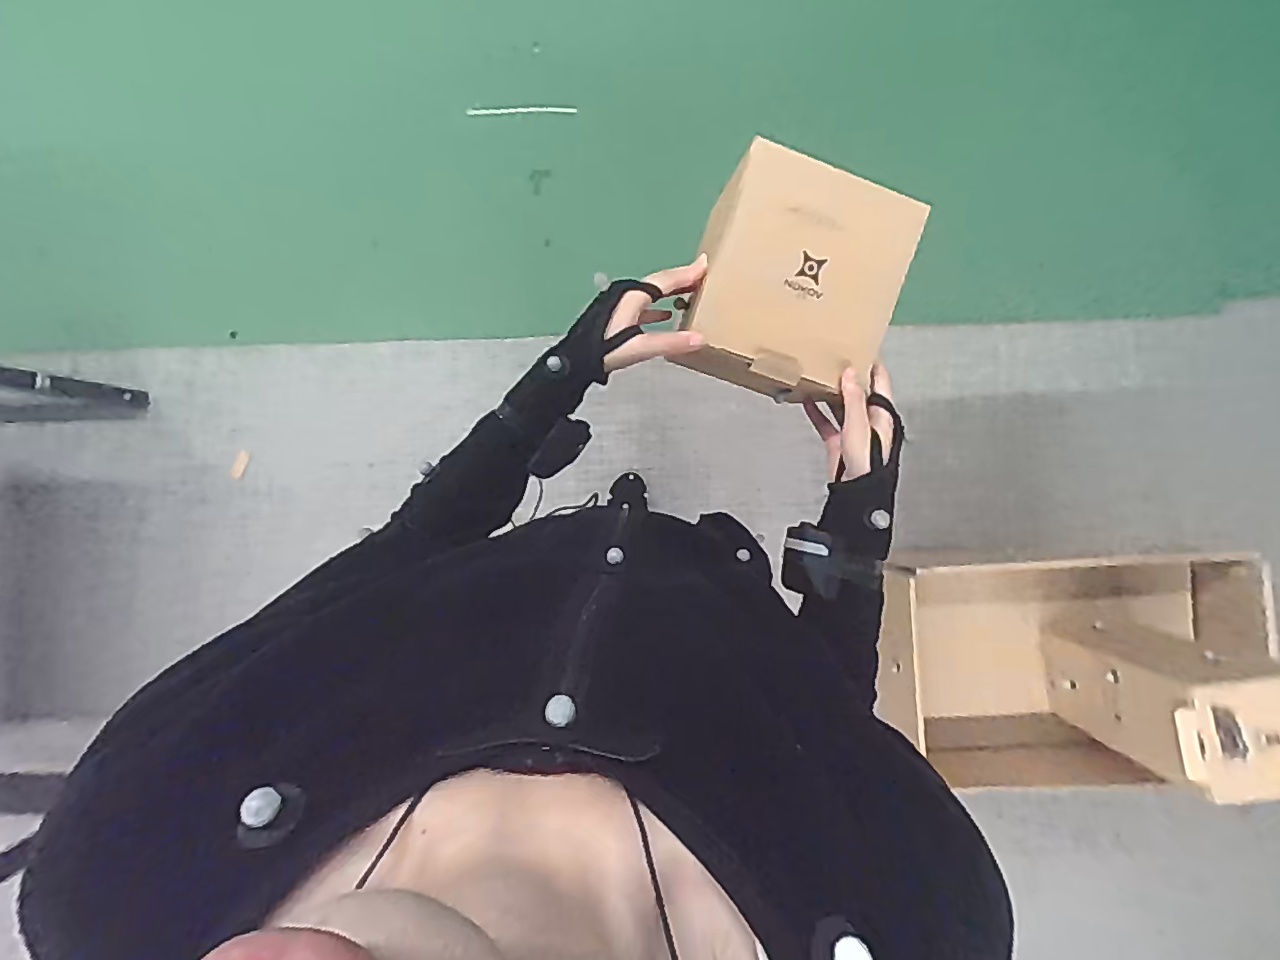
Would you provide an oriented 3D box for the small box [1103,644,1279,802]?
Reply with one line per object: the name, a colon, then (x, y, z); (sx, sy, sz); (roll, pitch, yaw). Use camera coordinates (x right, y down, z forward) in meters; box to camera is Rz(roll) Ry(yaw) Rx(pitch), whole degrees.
small box: (0.864, 0.362, 0.833); (0.179, 0.176, 0.168); (-8, 88, 3)
